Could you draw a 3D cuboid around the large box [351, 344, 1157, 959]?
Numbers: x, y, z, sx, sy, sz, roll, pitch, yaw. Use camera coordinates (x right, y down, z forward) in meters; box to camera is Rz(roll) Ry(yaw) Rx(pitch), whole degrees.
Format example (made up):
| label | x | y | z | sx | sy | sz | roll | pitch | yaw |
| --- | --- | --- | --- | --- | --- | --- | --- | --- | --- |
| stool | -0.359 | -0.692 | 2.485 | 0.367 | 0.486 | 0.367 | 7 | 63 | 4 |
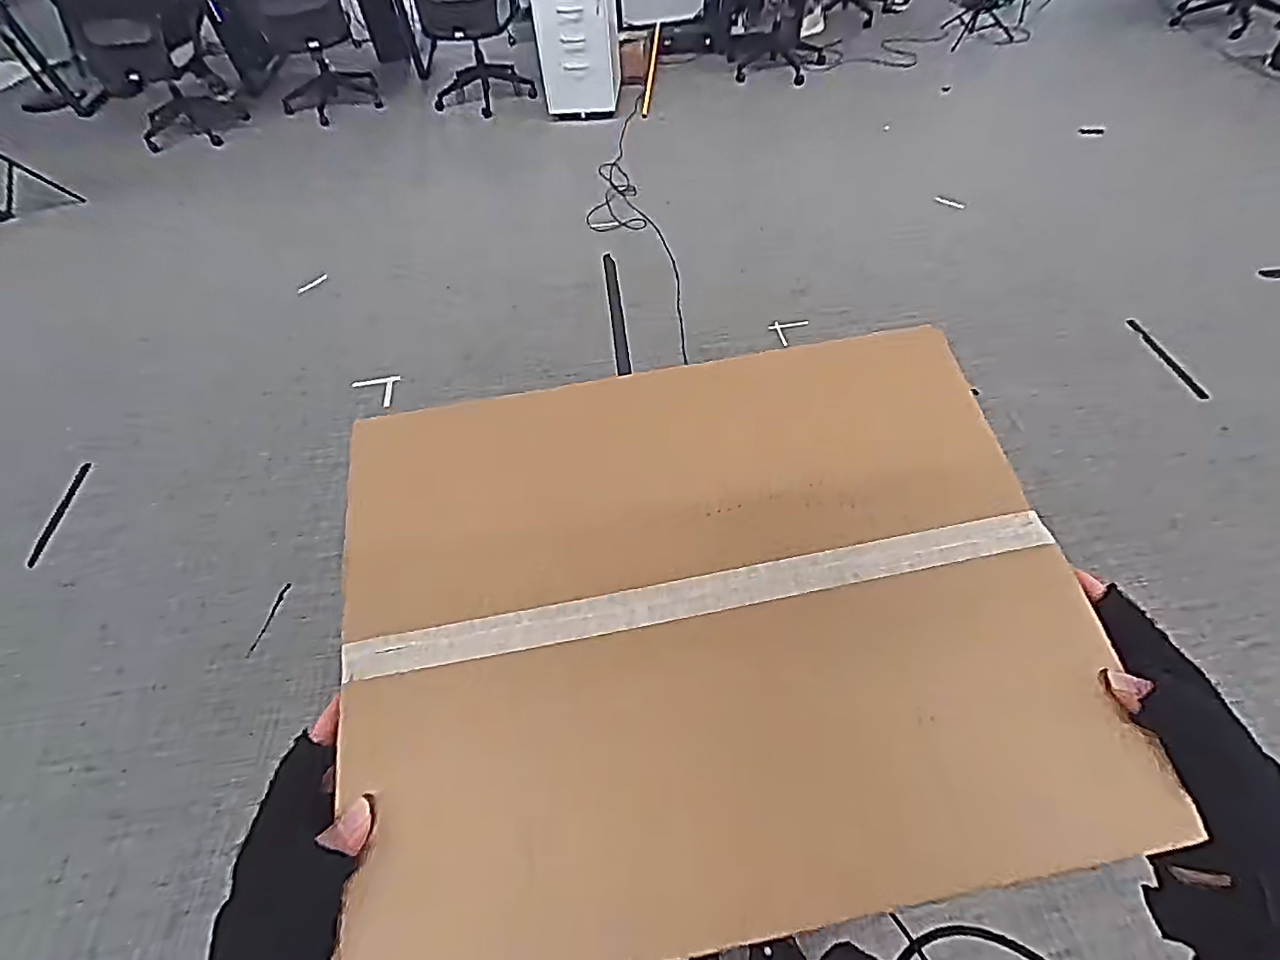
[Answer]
| label | x | y | z | sx | sy | sz | roll | pitch | yaw |
| --- | --- | --- | --- | --- | --- | --- | --- | --- | --- |
| large box | 0.041 | 0.136 | 0.450 | 0.408 | 0.320 | 0.320 | -11 | 65 | -3 |
